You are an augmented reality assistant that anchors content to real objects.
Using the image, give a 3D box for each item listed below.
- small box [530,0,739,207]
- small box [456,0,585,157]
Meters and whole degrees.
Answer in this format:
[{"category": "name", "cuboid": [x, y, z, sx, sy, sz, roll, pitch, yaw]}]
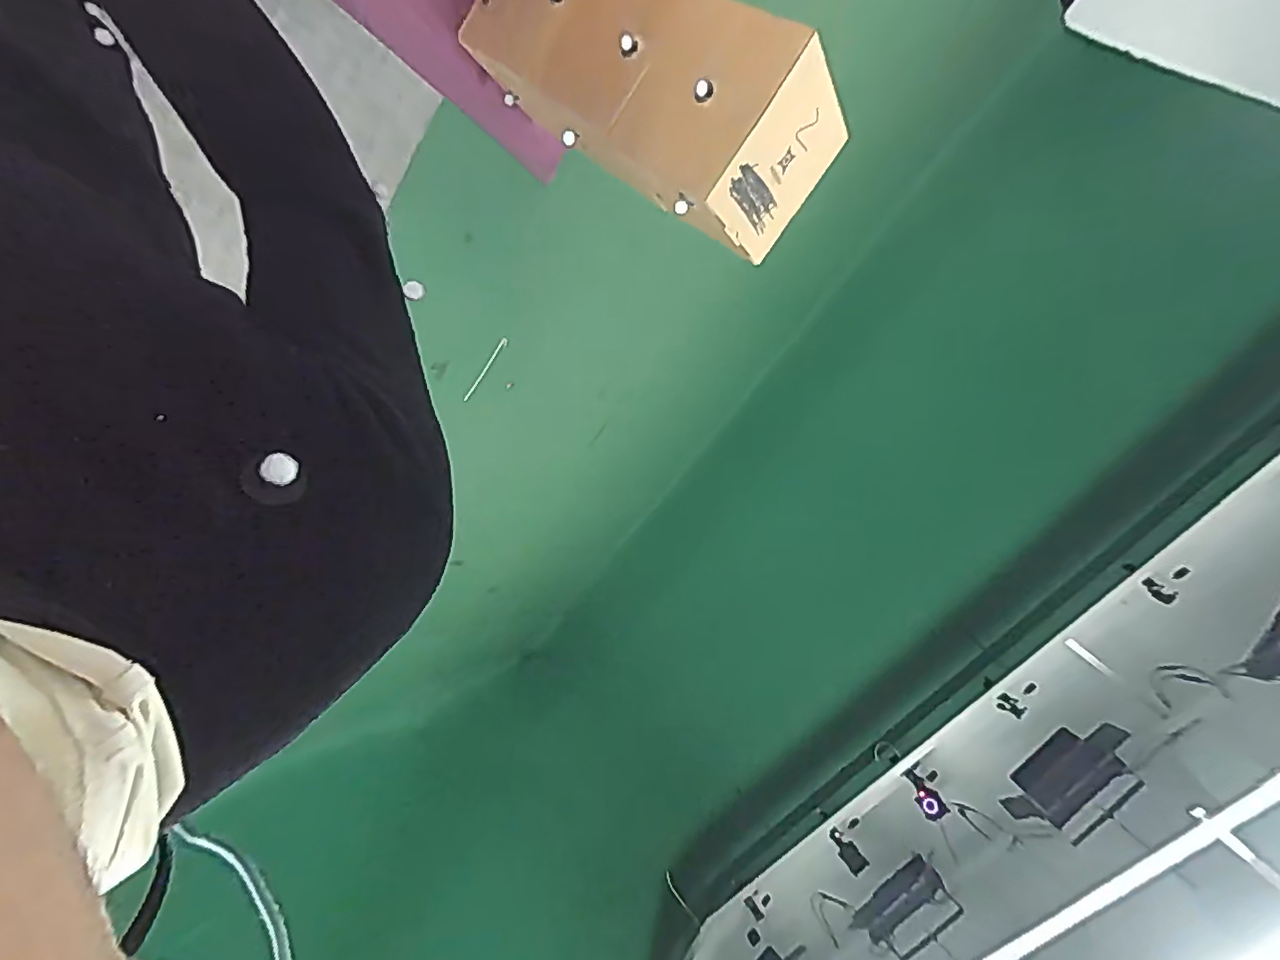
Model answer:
[{"category": "small box", "cuboid": [-0.008, -0.505, 0.698, 0.179, 0.176, 0.168, -51, 155, 14]}, {"category": "small box", "cuboid": [-0.117, -0.609, 0.760, 0.168, 0.176, 0.179, -51, 156, 14]}]
